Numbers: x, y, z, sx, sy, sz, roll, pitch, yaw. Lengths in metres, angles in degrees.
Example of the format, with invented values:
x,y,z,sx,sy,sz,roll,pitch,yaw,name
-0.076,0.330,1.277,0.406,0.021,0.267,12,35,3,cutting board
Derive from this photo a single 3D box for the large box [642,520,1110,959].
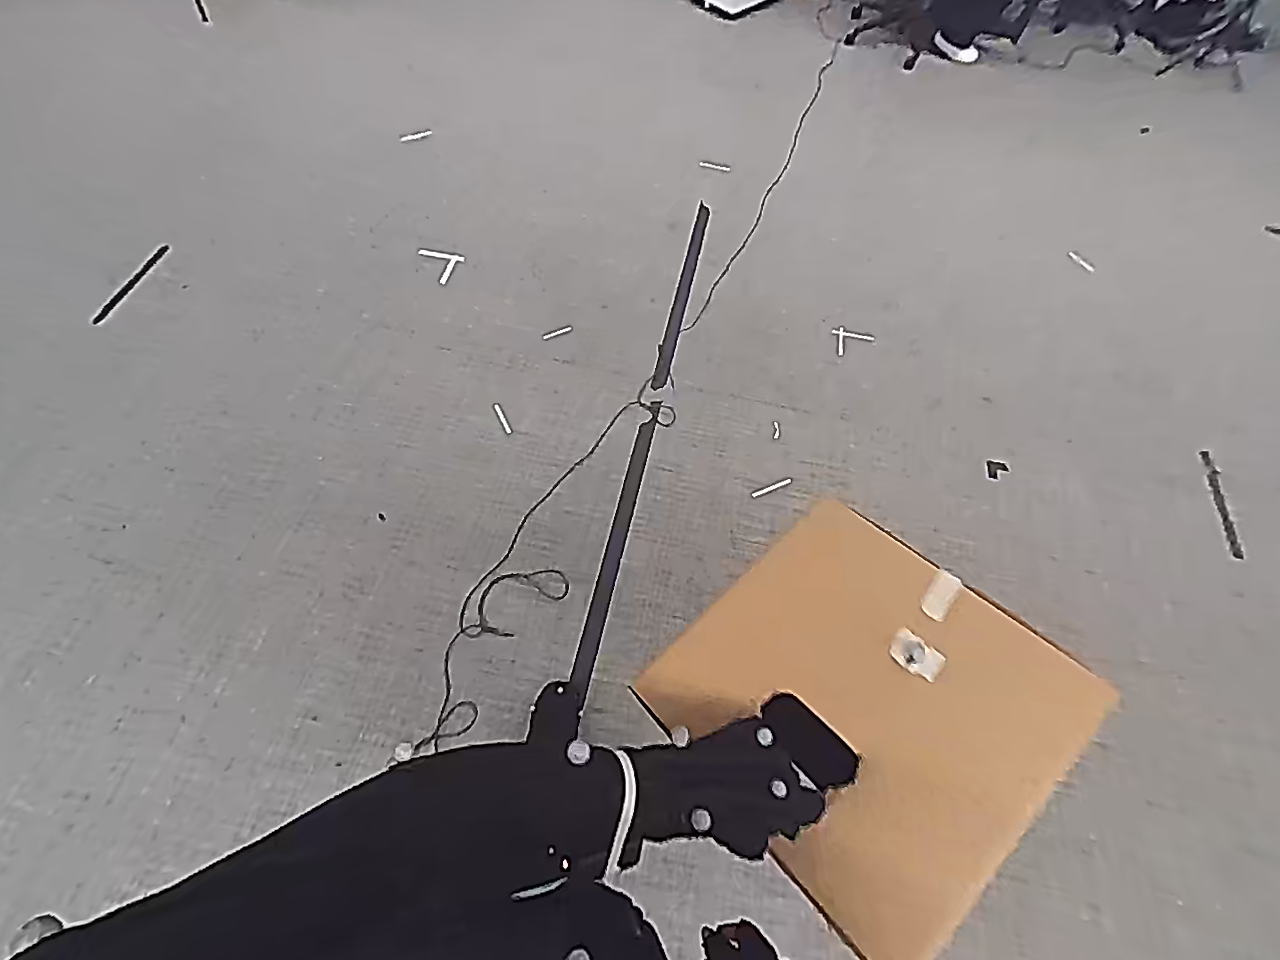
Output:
x,y,z,sx,sy,sz,roll,pitch,yaw,name
0.252,0.323,0.668,0.320,0.408,0.320,-39,55,-12,large box
